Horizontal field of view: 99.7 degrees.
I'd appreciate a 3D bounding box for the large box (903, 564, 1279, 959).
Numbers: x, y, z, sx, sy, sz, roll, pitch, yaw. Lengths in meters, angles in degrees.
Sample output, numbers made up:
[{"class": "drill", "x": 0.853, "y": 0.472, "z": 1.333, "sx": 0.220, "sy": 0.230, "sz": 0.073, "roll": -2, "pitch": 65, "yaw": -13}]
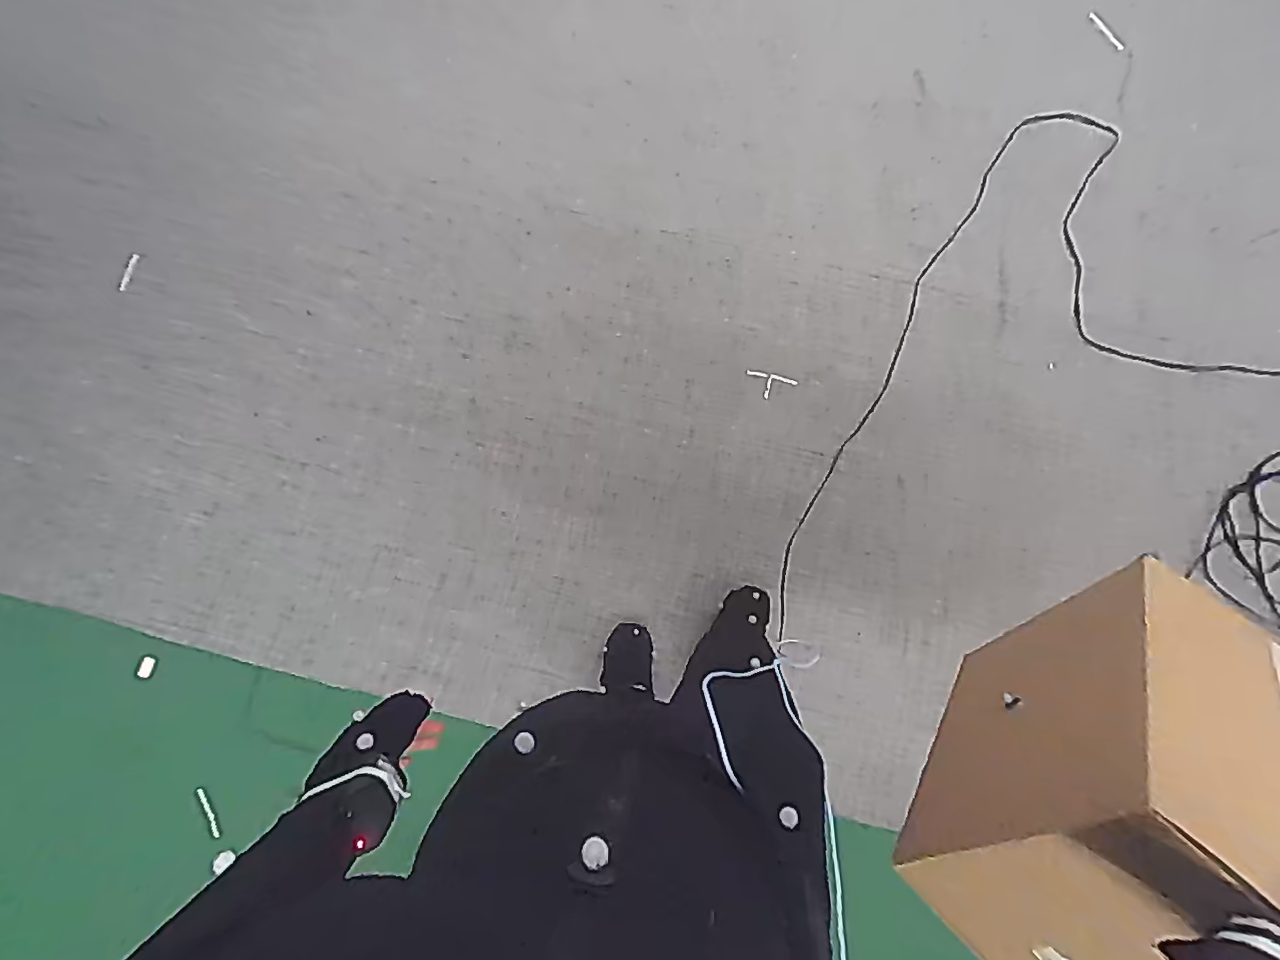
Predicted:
[{"class": "large box", "x": 0.576, "y": 0.382, "z": 0.626, "sx": 0.320, "sy": 0.320, "sz": 0.408, "roll": 43, "pitch": 45, "yaw": 15}]
